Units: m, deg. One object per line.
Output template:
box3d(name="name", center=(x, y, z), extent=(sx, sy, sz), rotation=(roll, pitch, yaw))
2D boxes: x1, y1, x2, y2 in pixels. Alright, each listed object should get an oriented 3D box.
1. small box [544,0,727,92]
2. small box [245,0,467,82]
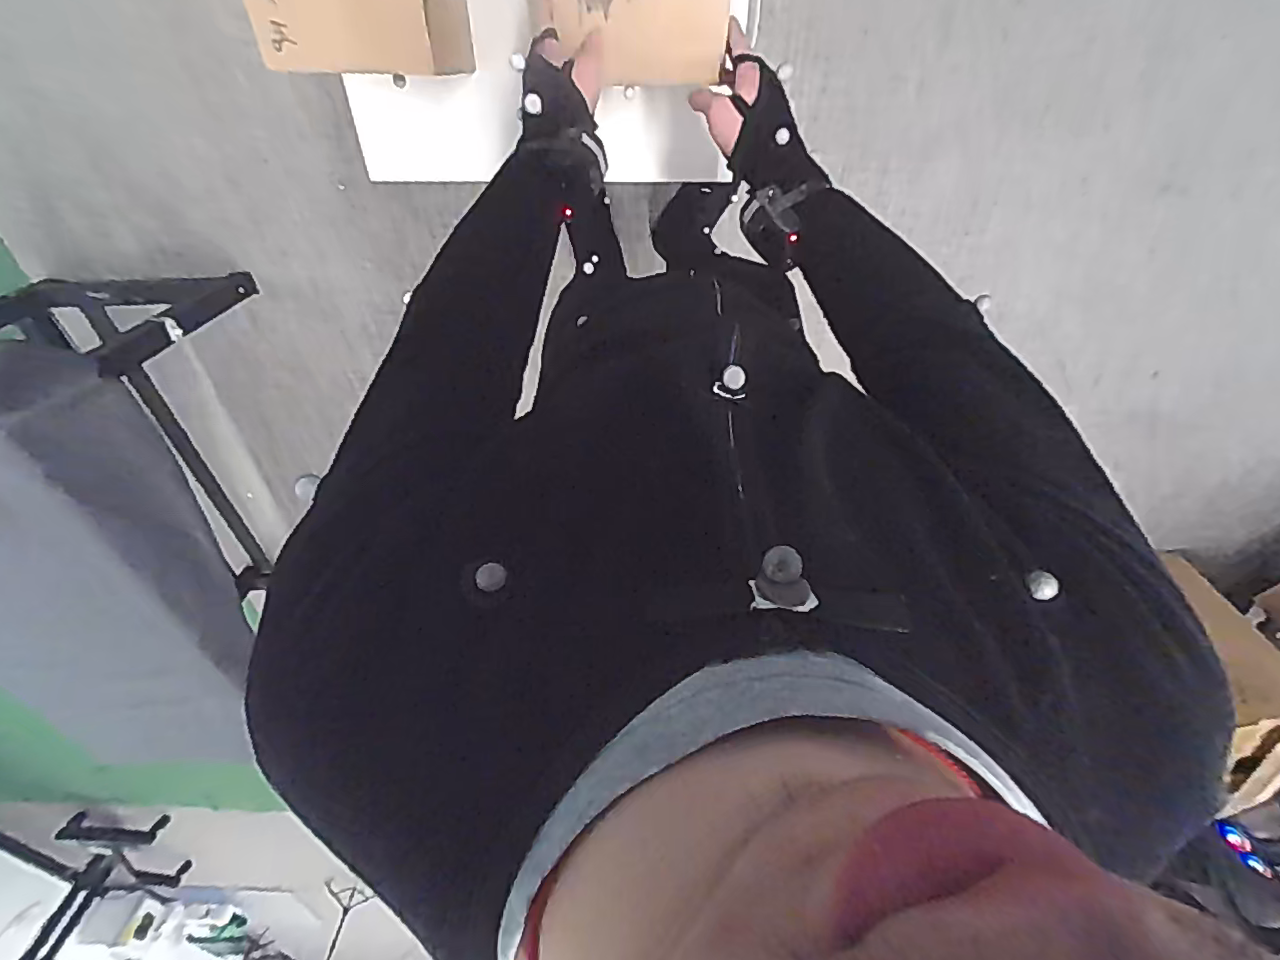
box3d(name="small box", center=(-0.002, -0.510, 0.562), extent=(0.179, 0.176, 0.168), rotation=(1, 129, 0))
box3d(name="small box", center=(-0.290, -0.523, 0.561), extent=(0.179, 0.176, 0.168), rotation=(0, 128, -1))
